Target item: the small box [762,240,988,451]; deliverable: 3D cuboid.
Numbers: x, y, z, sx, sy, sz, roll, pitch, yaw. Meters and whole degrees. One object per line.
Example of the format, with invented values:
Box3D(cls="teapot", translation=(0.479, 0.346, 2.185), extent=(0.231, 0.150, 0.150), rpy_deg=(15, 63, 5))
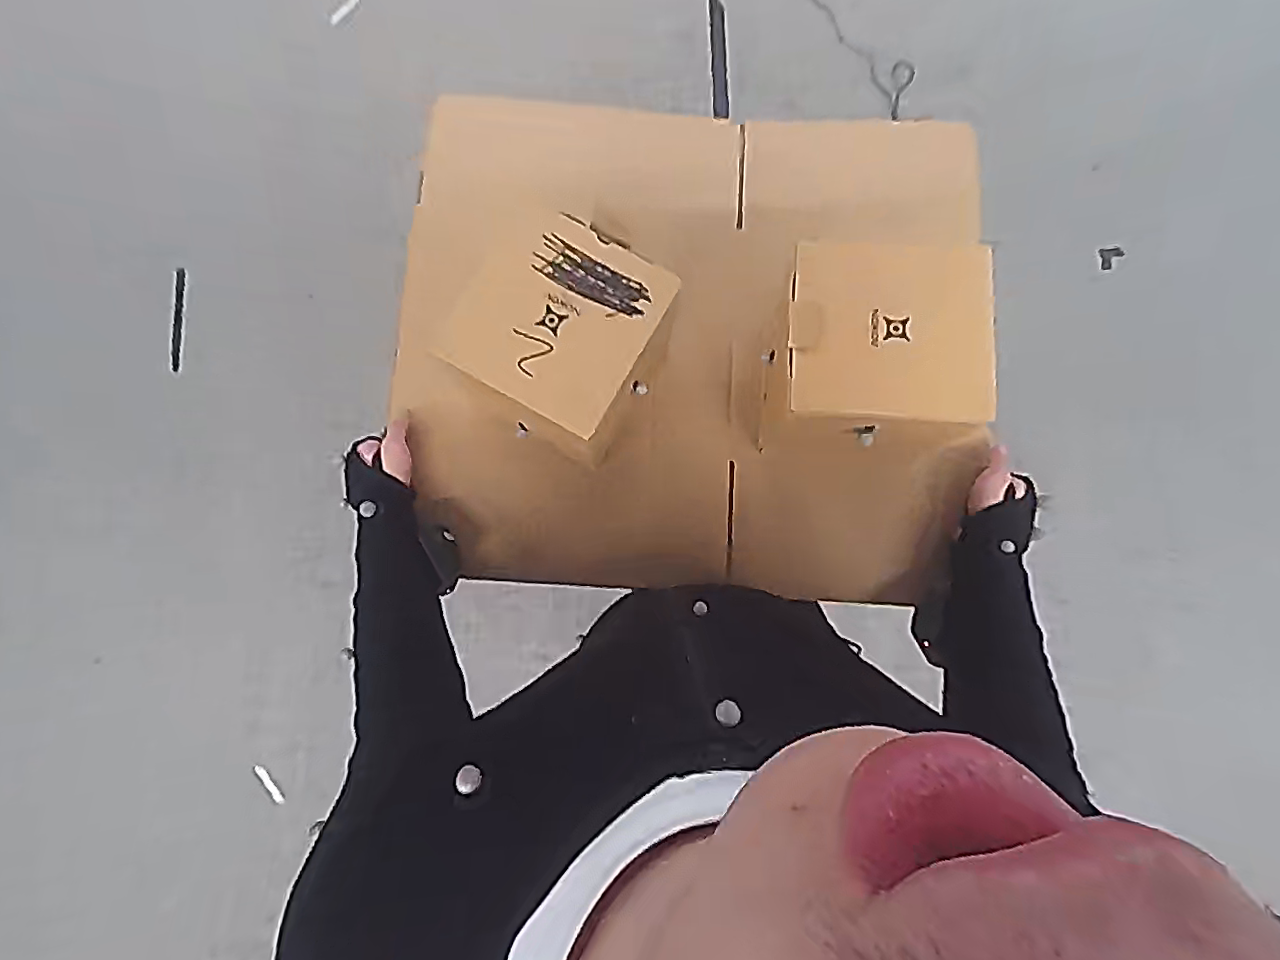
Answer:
Box3D(cls="small box", translation=(0.234, -0.129, 0.575), extent=(0.179, 0.176, 0.168), rpy_deg=(4, 80, 5))
